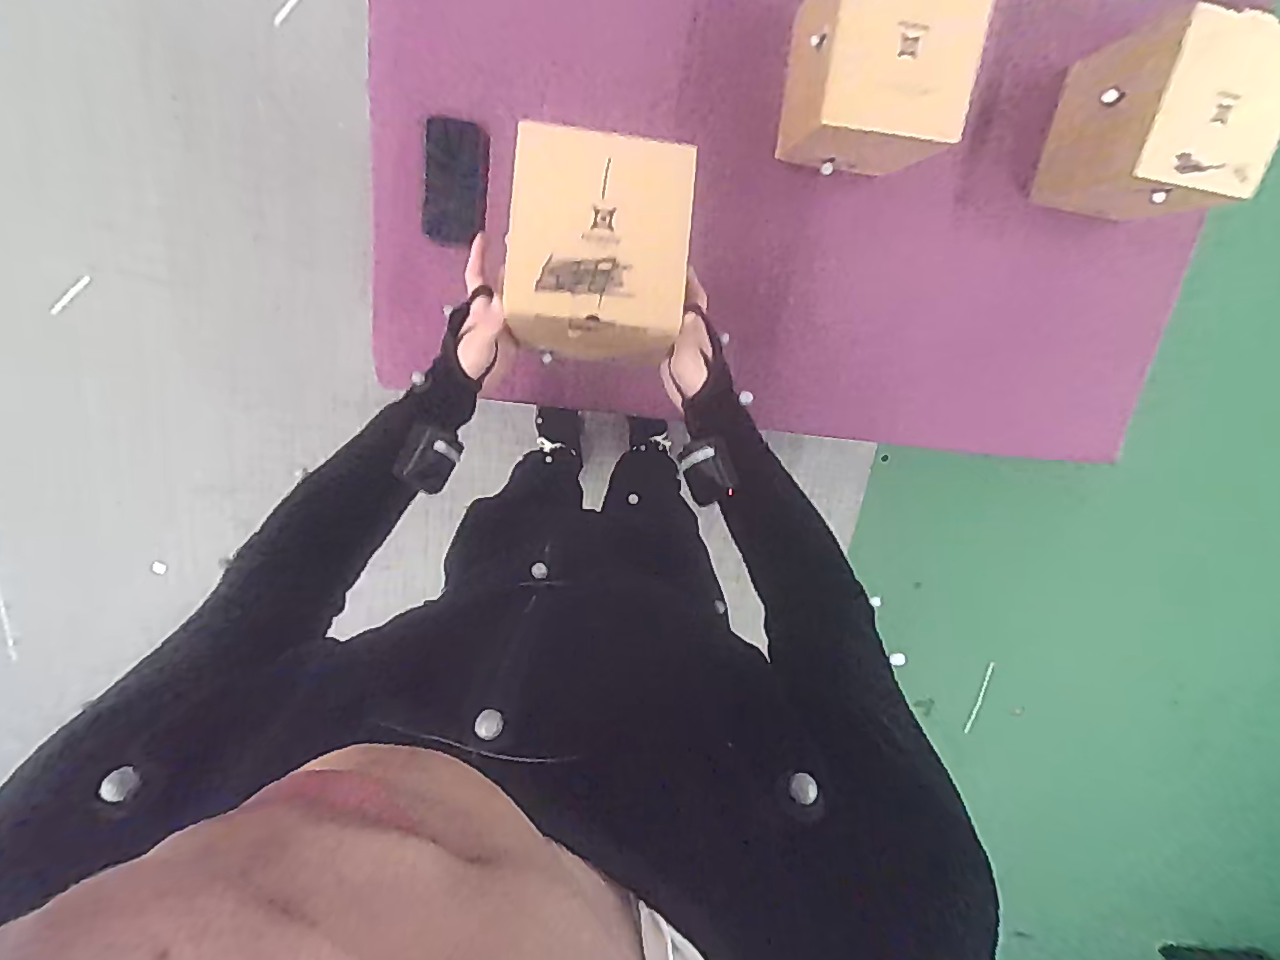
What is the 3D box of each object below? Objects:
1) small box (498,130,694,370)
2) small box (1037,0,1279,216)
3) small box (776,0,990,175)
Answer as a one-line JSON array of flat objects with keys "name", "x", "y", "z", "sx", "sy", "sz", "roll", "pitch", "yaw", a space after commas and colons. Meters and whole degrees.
[{"name": "small box", "x": -0.044, "y": -0.220, "z": 0.568, "sx": 0.168, "sy": 0.176, "sz": 0.179, "roll": 5, "pitch": 90, "yaw": -5}, {"name": "small box", "x": 0.662, "y": -0.458, "z": 0.691, "sx": 0.168, "sy": 0.176, "sz": 0.179, "roll": 7, "pitch": 106, "yaw": -6}, {"name": "small box", "x": 0.276, "y": -0.493, "z": 0.650, "sx": 0.168, "sy": 0.176, "sz": 0.179, "roll": 5, "pitch": 107, "yaw": -5}]
